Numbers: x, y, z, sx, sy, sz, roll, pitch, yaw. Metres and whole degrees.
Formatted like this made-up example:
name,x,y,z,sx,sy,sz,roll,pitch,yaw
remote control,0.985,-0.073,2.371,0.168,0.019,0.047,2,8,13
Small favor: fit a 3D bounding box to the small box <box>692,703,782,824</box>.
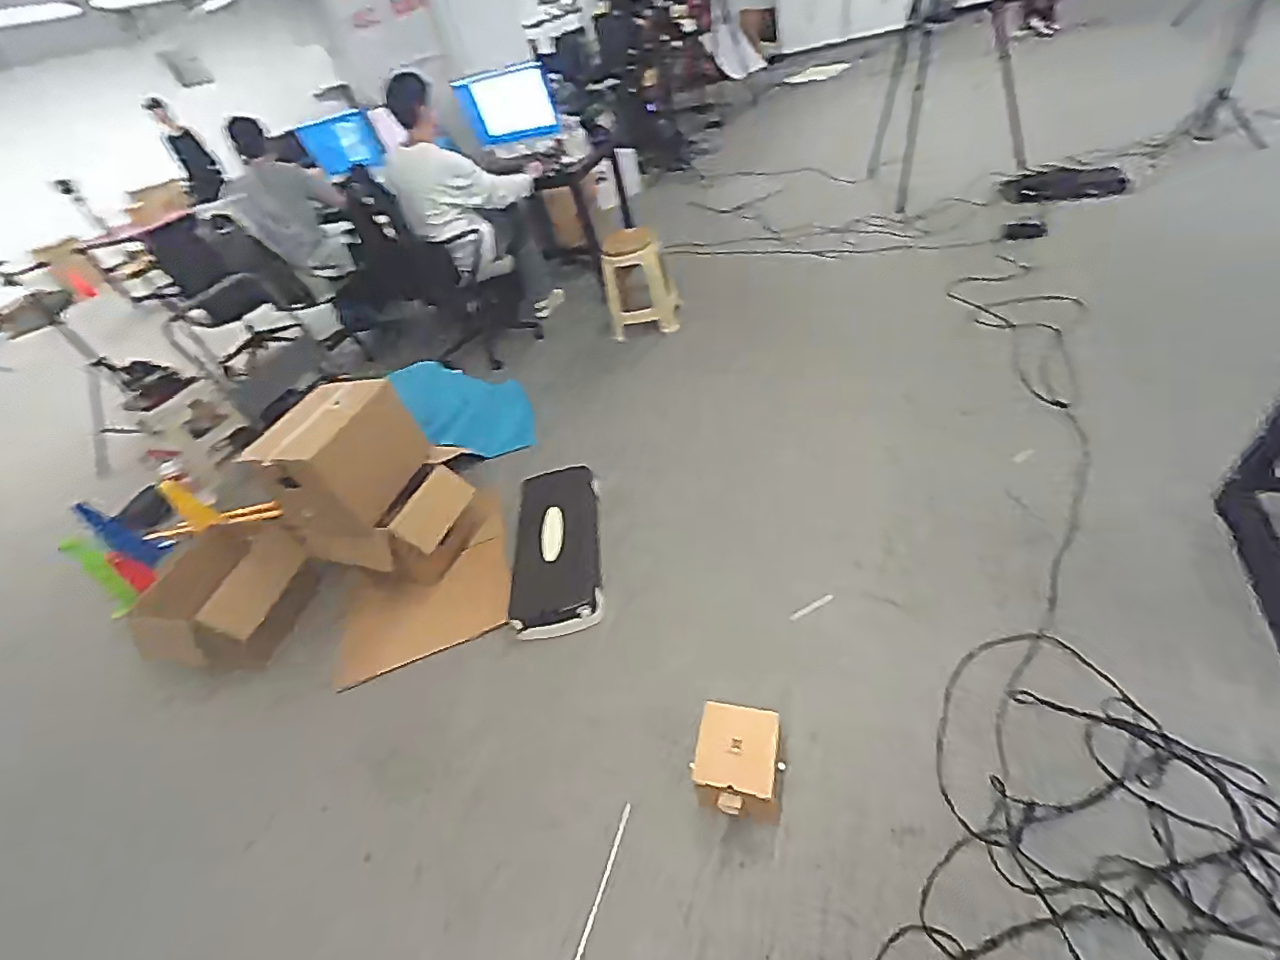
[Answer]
name,x,y,z,sx,sy,sz,roll,pitch,yaw
small box,0.222,0.626,1.198,0.168,0.176,0.179,2,46,20
